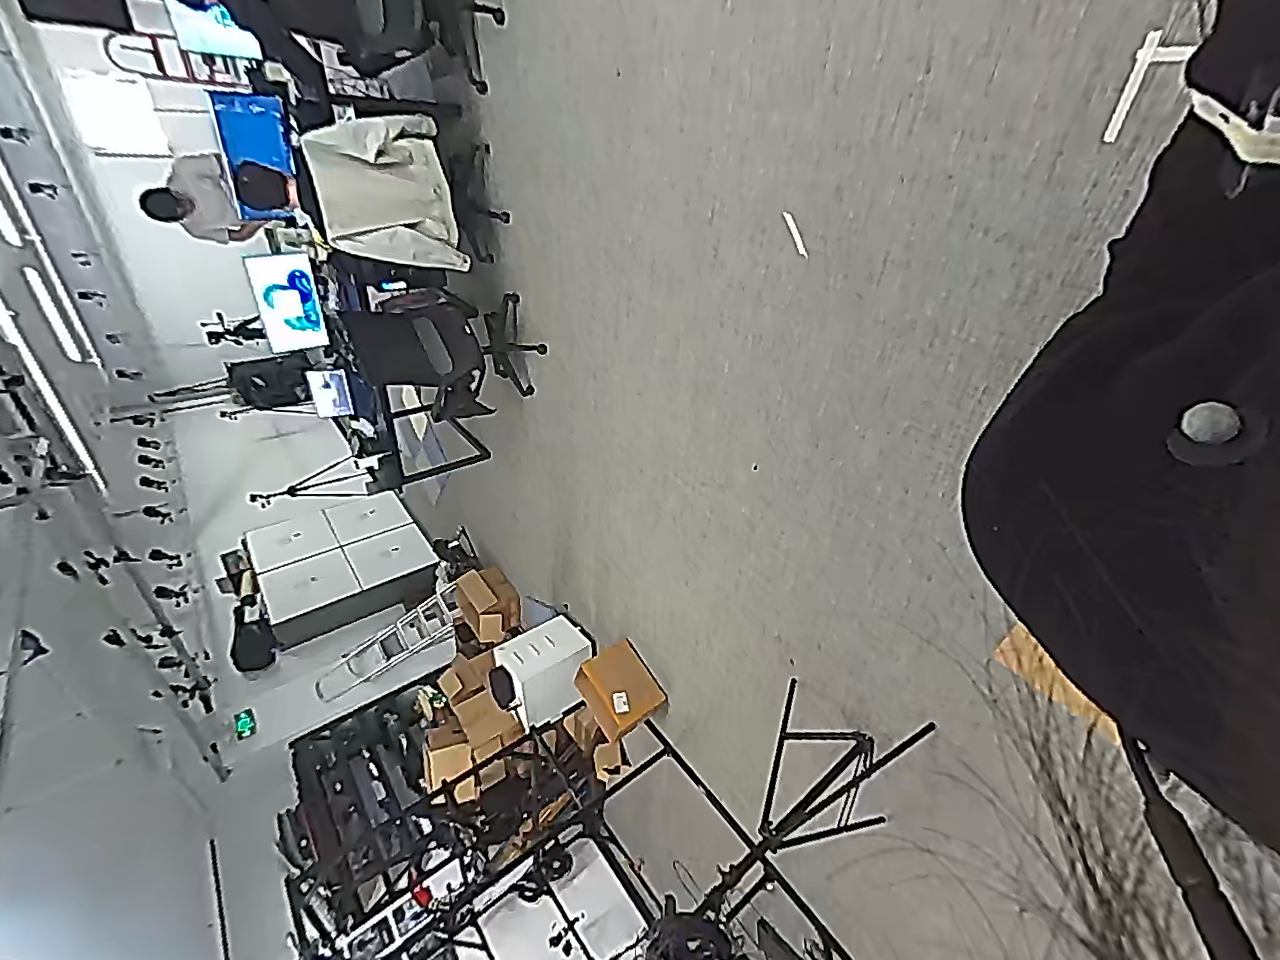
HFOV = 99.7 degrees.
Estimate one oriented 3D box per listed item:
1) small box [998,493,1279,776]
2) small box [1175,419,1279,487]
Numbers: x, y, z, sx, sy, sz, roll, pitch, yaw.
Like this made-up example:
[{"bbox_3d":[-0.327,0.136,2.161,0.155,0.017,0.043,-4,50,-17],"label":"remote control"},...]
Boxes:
[{"bbox_3d":[0.511,0.139,0.537,0.168,0.176,0.179,41,139,37],"label":"small box"},{"bbox_3d":[0.766,0.040,0.712,0.168,0.176,0.179,42,138,35],"label":"small box"}]
